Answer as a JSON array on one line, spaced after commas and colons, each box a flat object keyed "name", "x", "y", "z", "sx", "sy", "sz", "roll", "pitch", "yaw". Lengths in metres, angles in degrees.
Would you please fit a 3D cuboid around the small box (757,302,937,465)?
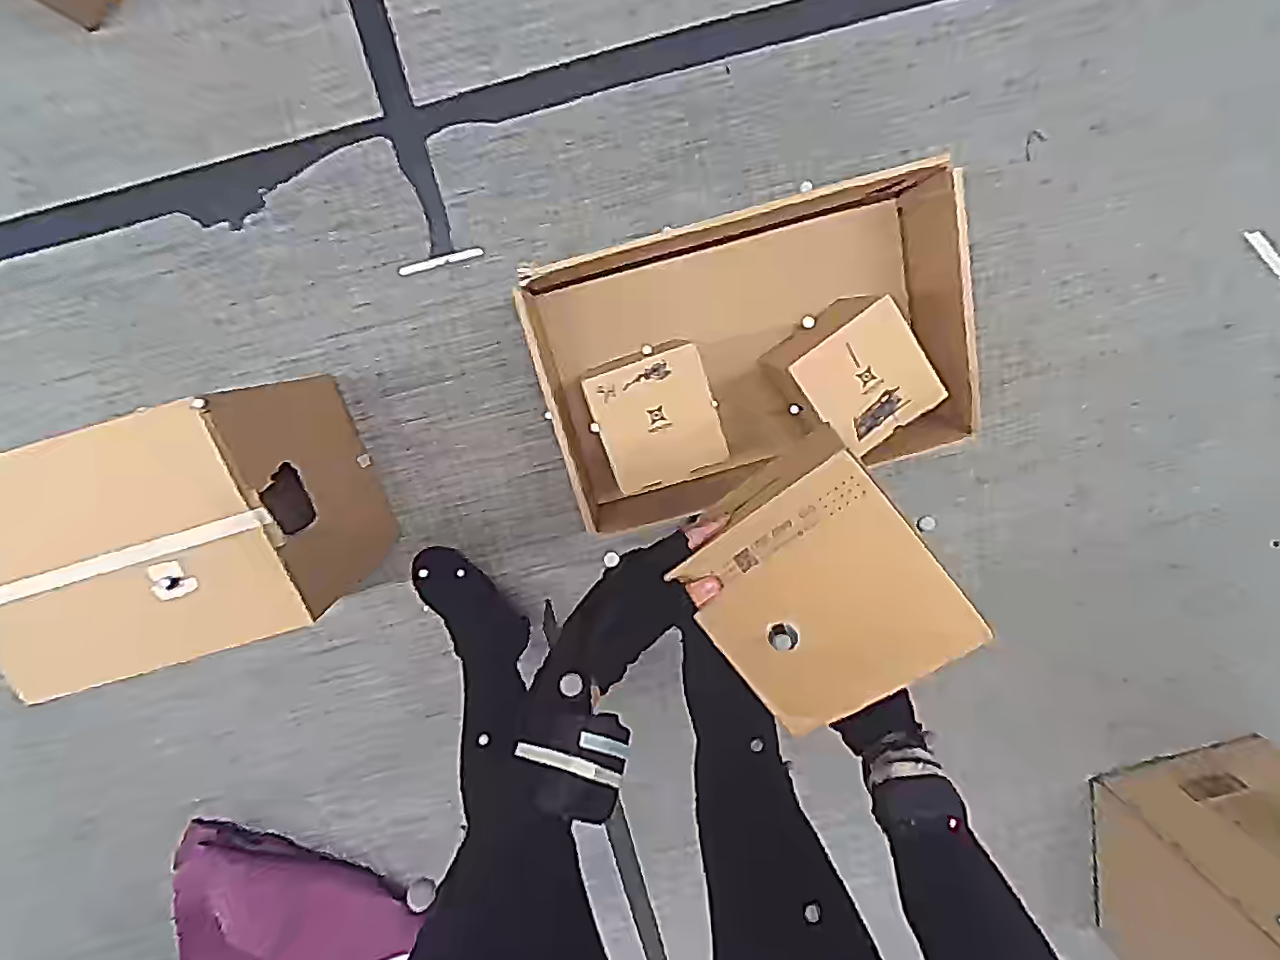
[{"name": "small box", "x": 0.308, "y": -0.154, "z": 0.839, "sx": 0.168, "sy": 0.176, "sz": 0.179, "roll": -36, "pitch": 104, "yaw": 7}]

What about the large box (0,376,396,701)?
[{"name": "large box", "x": -0.663, "y": 0.055, "z": 0.811, "sx": 0.408, "sy": 0.320, "sz": 0.320, "roll": -17, "pitch": 106, "yaw": 0}]
